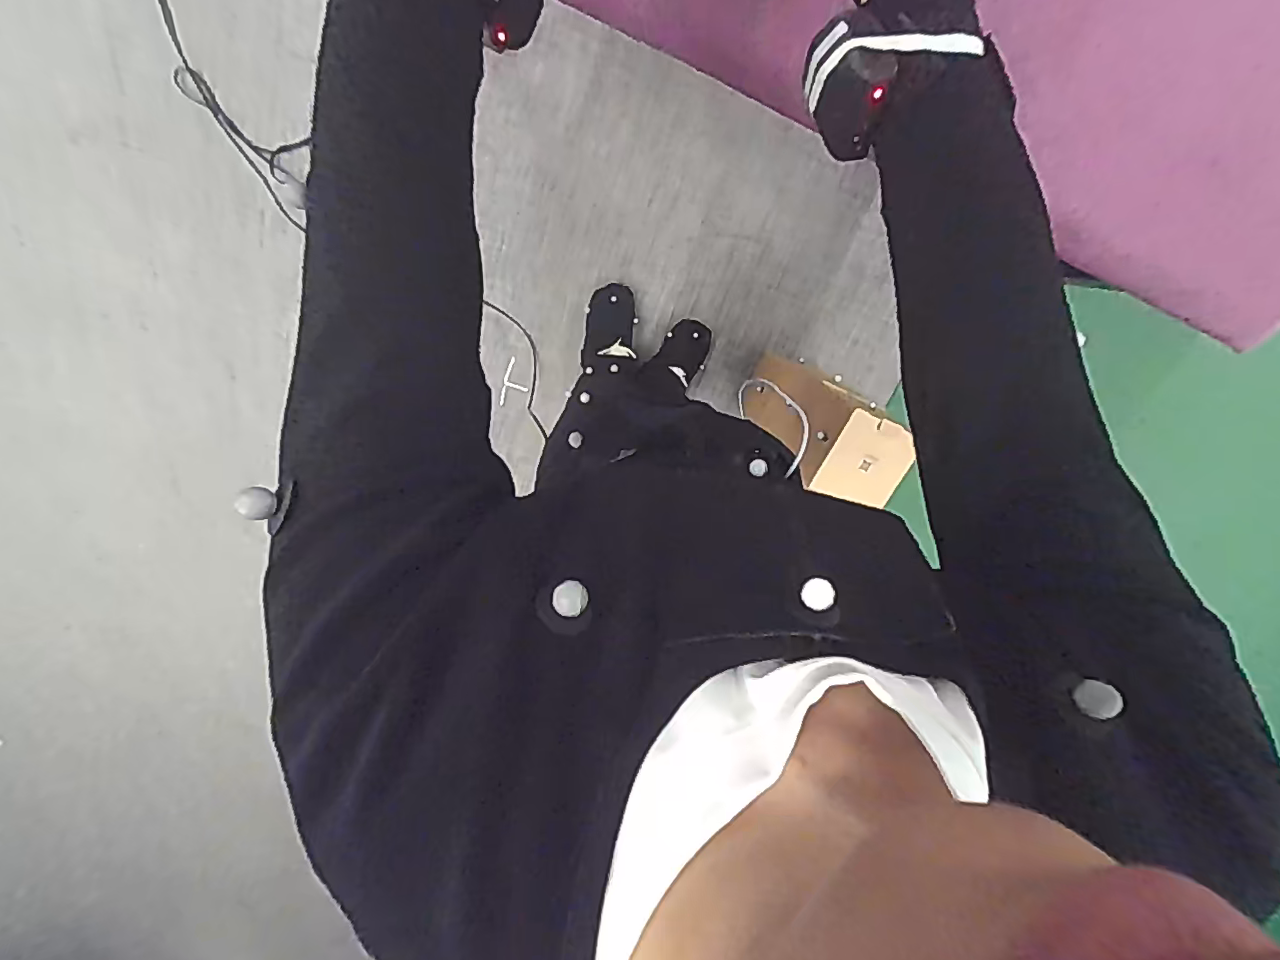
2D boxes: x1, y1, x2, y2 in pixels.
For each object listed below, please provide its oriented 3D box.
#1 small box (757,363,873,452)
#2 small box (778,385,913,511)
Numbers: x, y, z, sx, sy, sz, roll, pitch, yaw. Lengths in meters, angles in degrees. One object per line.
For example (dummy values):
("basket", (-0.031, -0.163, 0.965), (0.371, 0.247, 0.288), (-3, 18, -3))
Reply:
("small box", (0.387, -0.146, 1.242), (0.168, 0.176, 0.179), (21, 110, -14))
("small box", (0.401, -0.070, 1.099), (0.168, 0.176, 0.179), (20, 111, -14))
